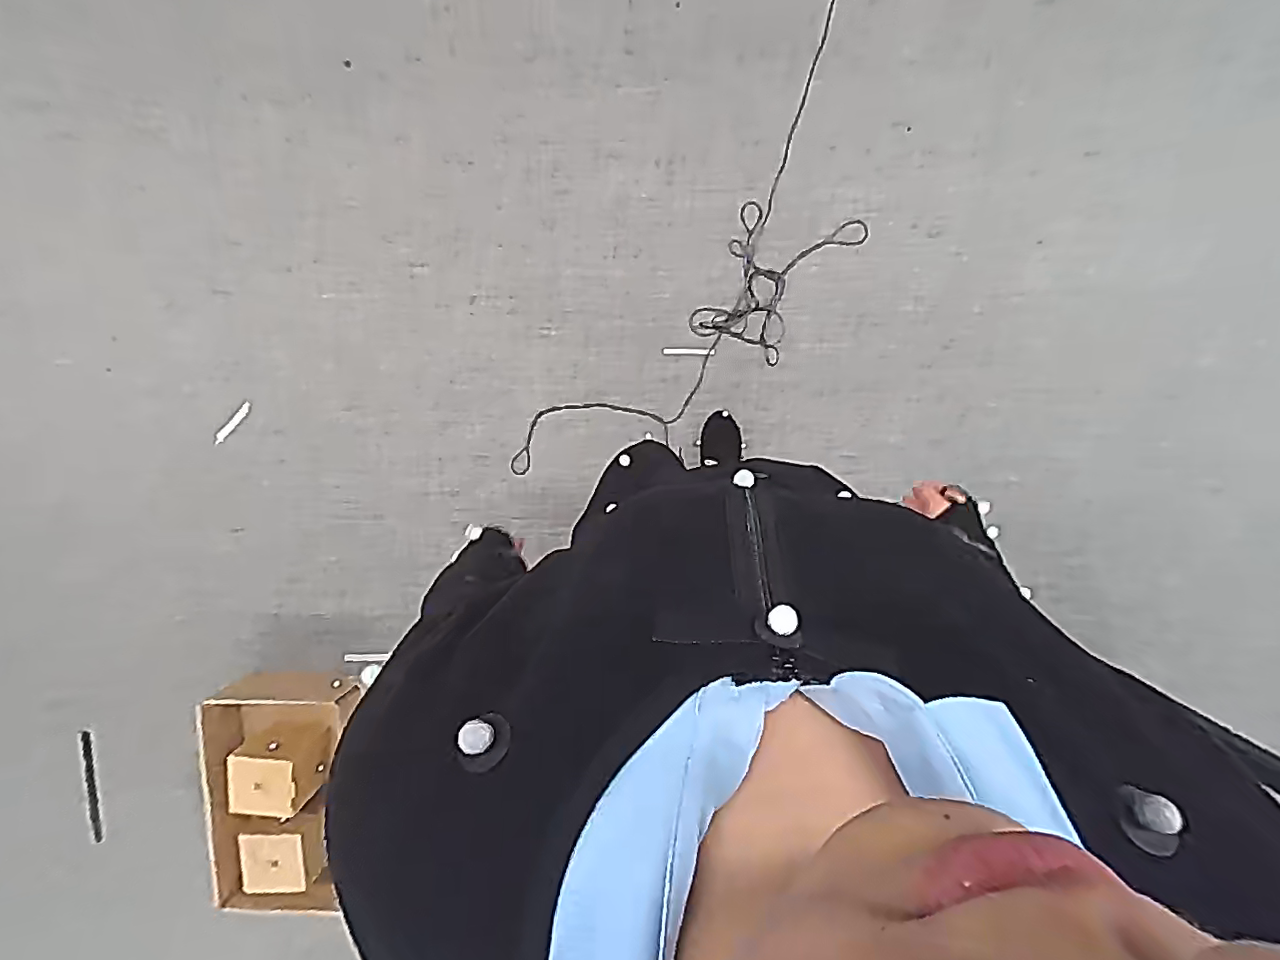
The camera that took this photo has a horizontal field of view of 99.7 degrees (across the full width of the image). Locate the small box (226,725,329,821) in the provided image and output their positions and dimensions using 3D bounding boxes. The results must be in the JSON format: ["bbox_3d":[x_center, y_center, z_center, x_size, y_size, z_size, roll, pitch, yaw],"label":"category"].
[{"bbox_3d":[-1.004,0.806,1.504,0.179,0.176,0.168,5,96,2],"label":"small box"}]

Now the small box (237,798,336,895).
[{"bbox_3d":[-0.981,1.022,1.519,0.179,0.176,0.168,-2,93,3],"label":"small box"}]
